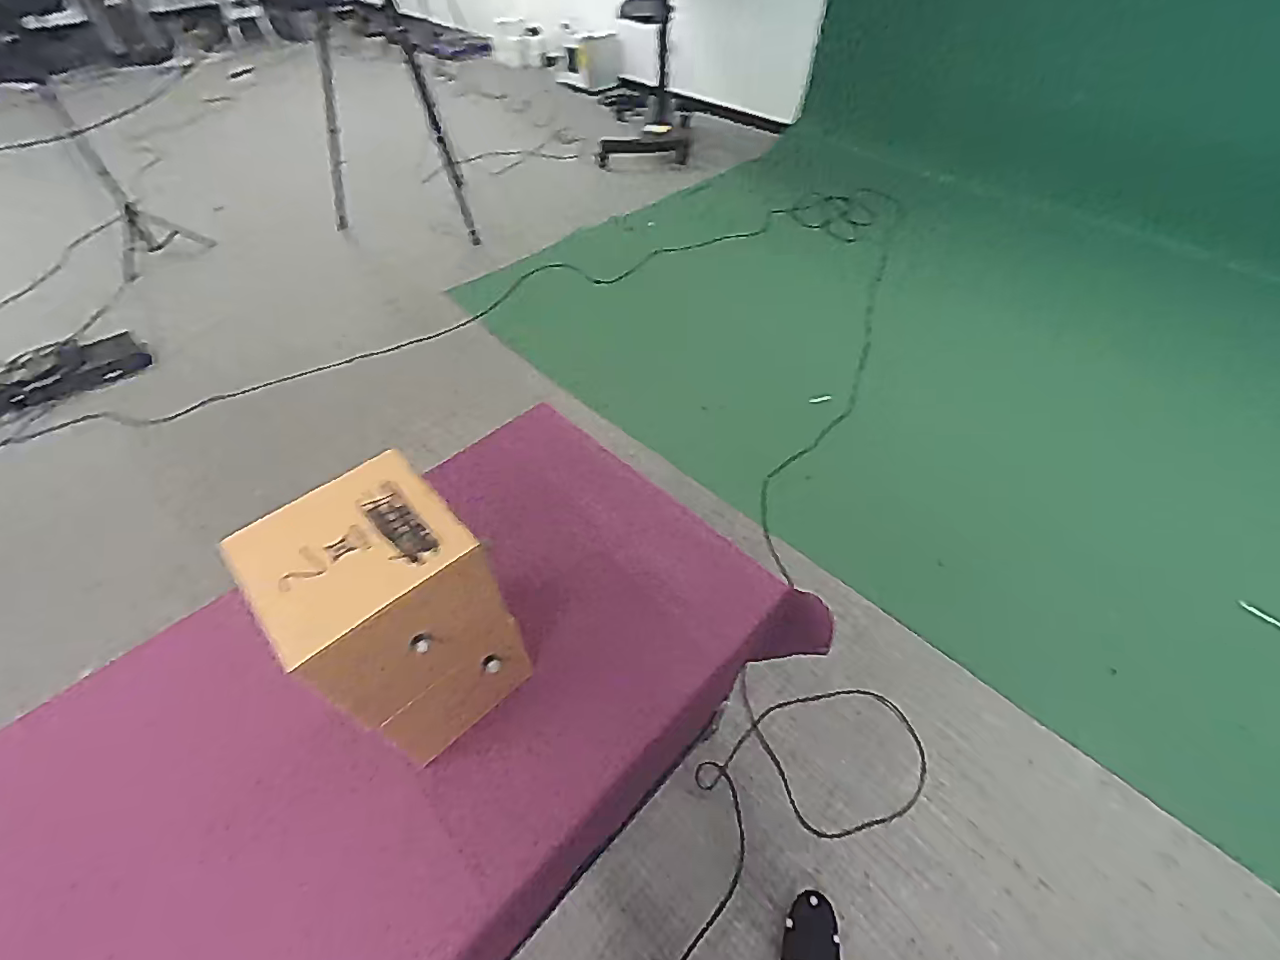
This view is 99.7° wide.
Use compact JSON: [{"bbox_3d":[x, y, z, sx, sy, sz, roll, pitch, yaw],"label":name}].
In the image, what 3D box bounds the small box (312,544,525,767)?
[{"bbox_3d":[-0.263,0.221,0.684,0.179,0.176,0.168,-37,59,-27],"label":"small box"}]
